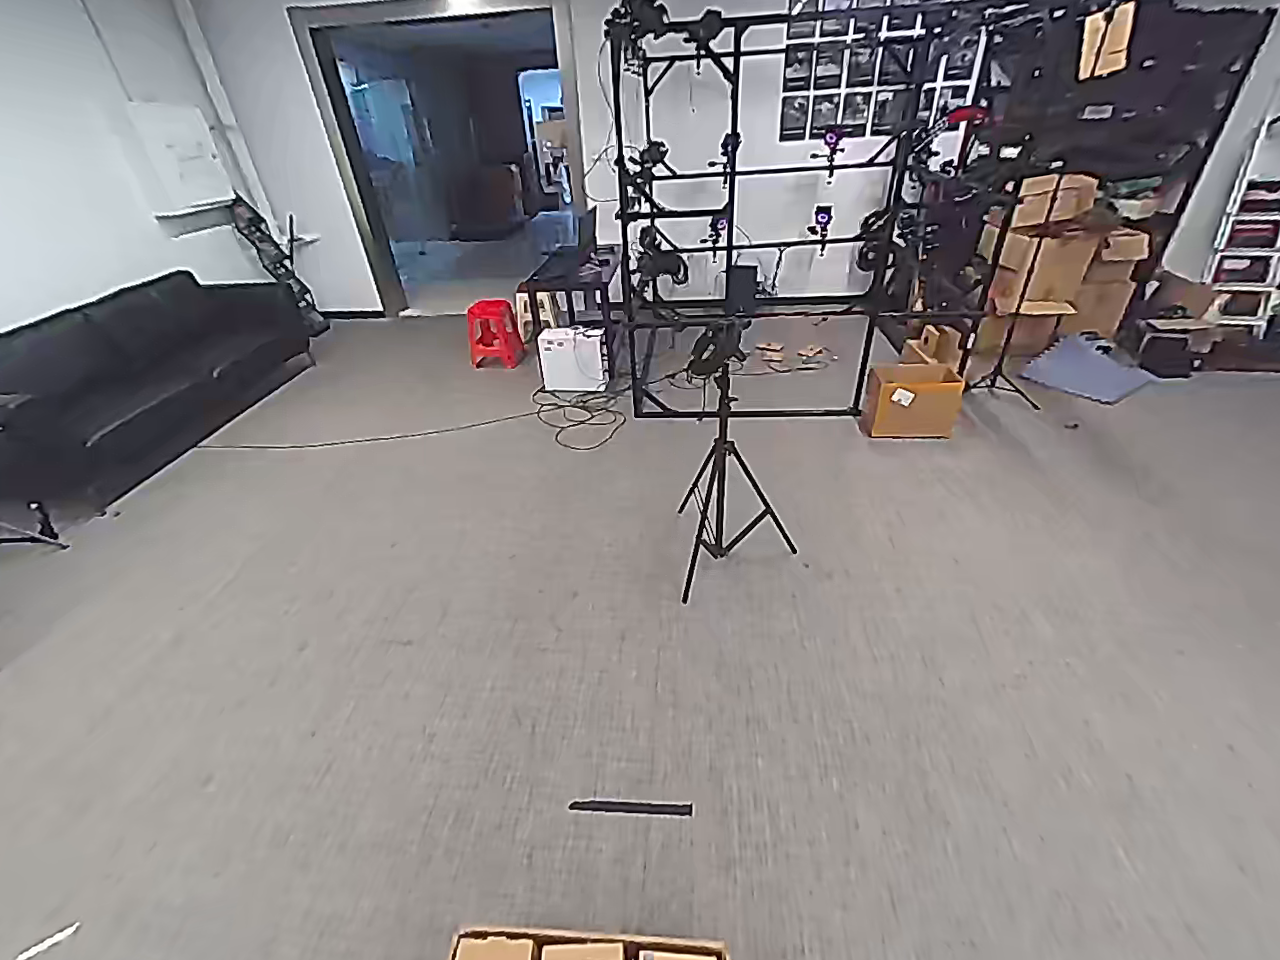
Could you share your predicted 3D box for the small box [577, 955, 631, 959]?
[{"bbox_3d":[-0.002,0.676,0.625,0.168,0.176,0.179,4,49,2],"label":"small box"}]
